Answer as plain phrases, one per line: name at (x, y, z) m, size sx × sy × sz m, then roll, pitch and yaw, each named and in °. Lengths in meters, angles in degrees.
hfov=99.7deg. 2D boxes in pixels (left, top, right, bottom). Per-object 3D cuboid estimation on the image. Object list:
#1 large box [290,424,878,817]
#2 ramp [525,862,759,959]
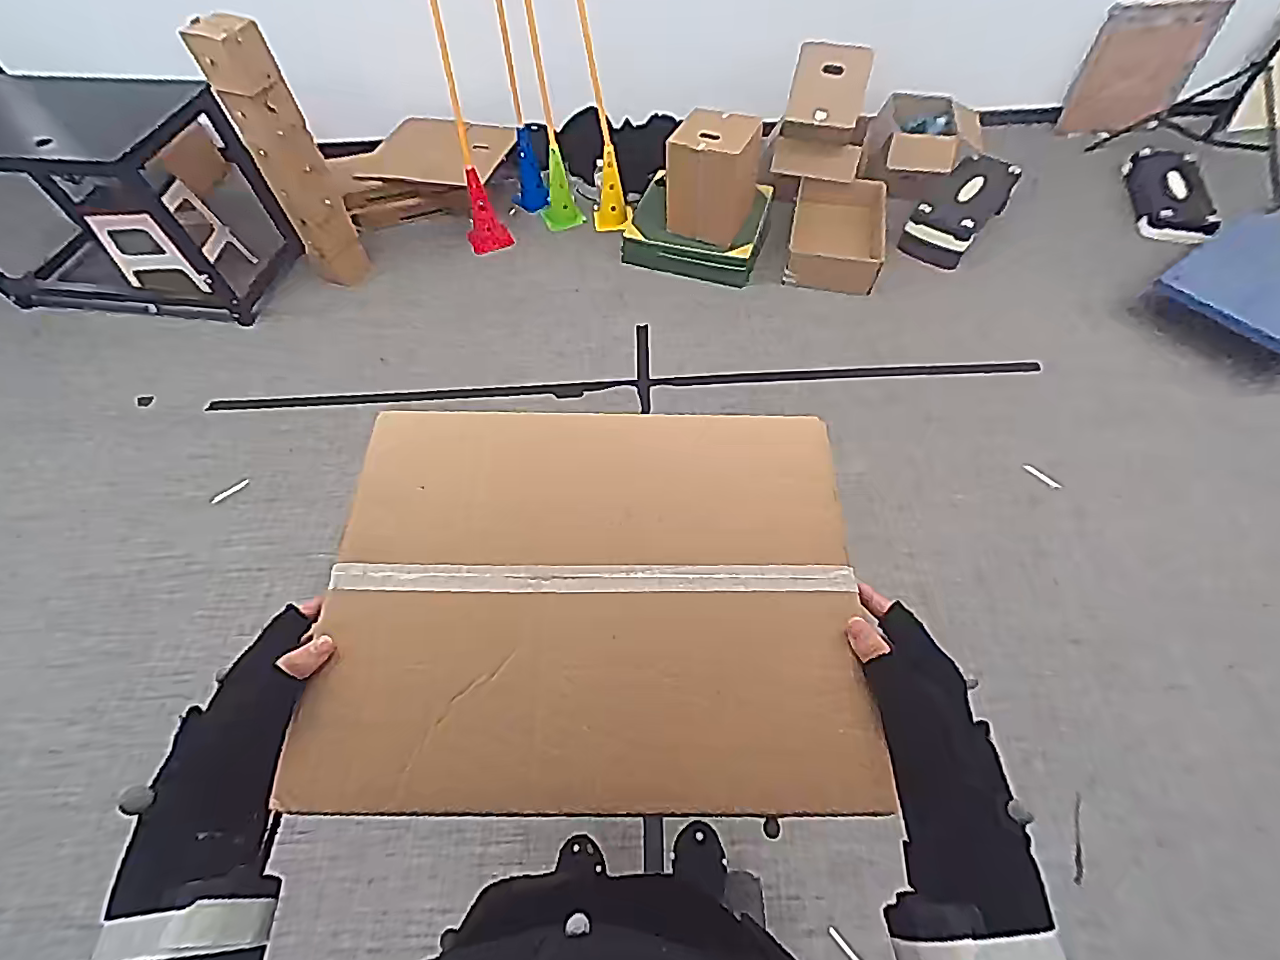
large box at (-0.038, 0.154, 0.562) m, size 0.408 × 0.320 × 0.320 m, roll 1°, pitch 61°, yaw -1°
ramp at (0.013, 1.315, 1.002) m, size 0.509 × 0.206 × 0.991 m, roll -2°, pitch 58°, yaw -2°
